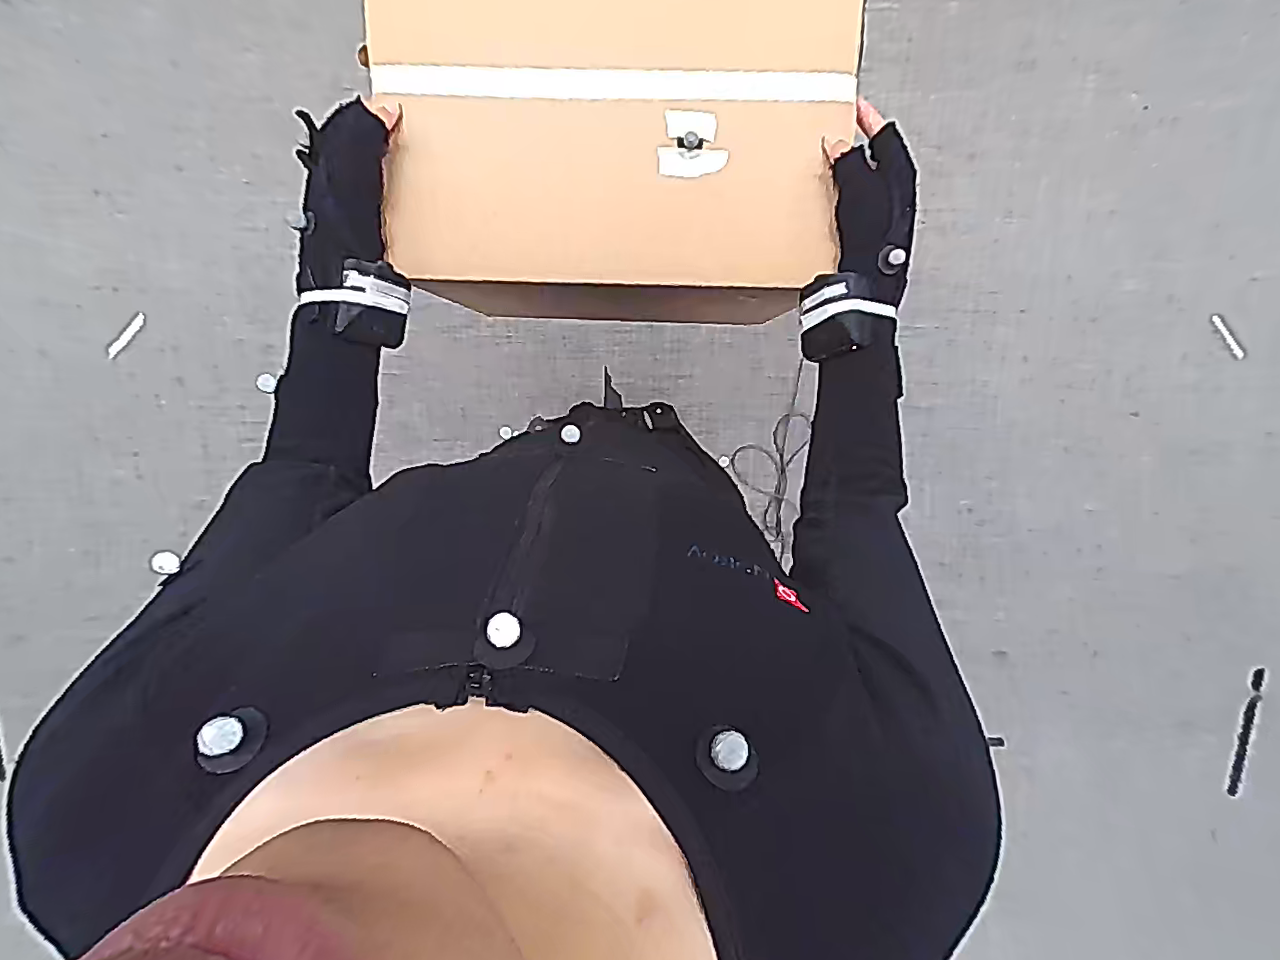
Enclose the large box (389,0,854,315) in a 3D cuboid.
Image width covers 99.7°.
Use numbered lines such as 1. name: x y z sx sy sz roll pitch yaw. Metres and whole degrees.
1. large box: -0.019 -0.366 0.619 0.408 0.320 0.320 1 102 -1
